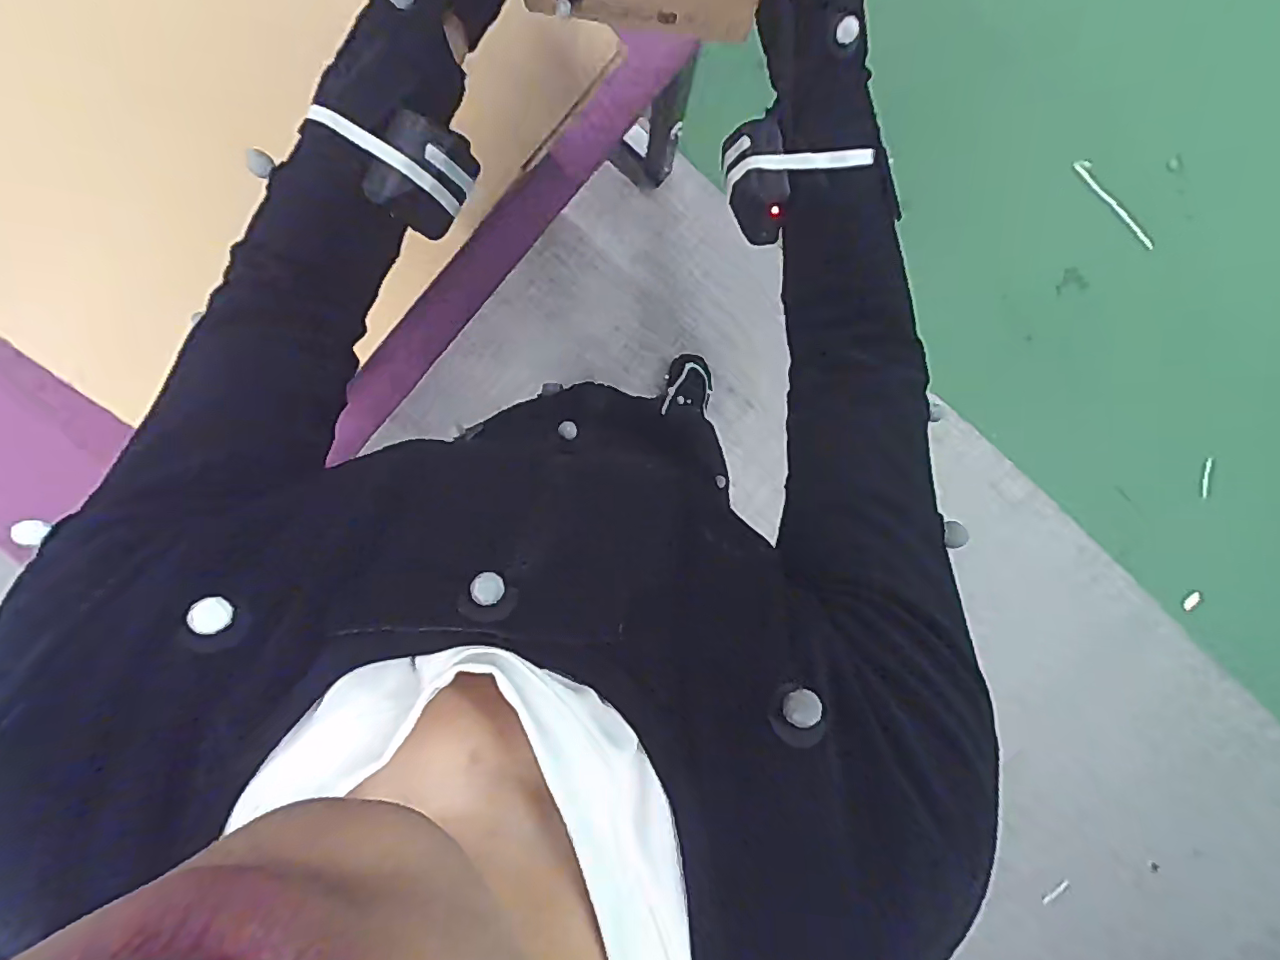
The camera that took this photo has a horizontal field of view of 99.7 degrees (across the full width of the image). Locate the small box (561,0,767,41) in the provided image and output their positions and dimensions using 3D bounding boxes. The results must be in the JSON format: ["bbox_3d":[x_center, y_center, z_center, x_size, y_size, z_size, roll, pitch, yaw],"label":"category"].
[{"bbox_3d":[0.017,-0.399,0.309,0.168,0.176,0.179,6,103,-3],"label":"small box"}]
